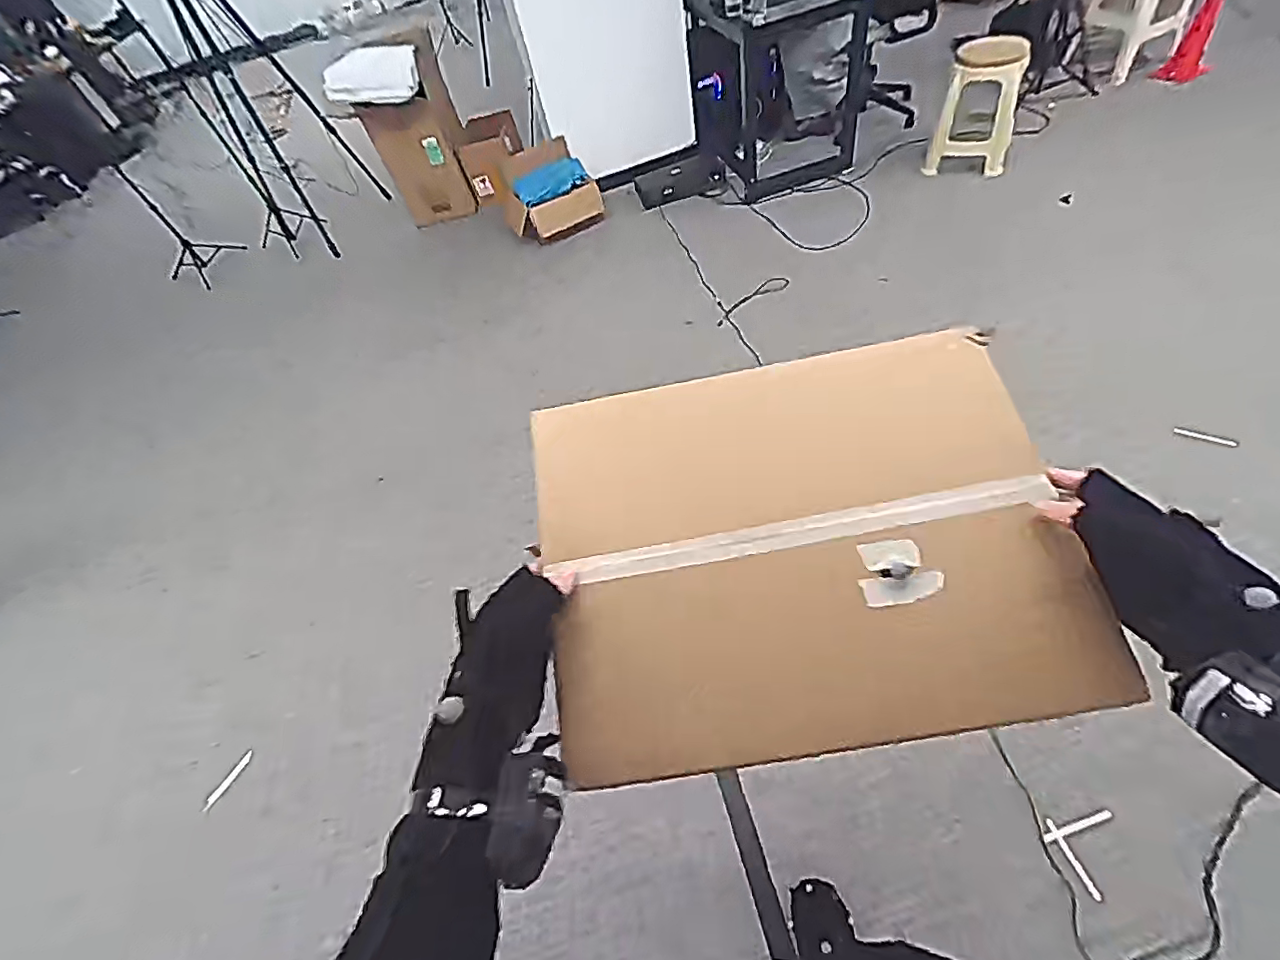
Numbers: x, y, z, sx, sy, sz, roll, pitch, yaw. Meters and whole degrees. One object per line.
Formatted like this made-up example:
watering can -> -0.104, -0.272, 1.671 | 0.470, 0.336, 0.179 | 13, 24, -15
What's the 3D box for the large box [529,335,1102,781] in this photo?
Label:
large box -> 0.128, 0.100, 0.586 | 0.408, 0.320, 0.320 | -12, 68, 2
